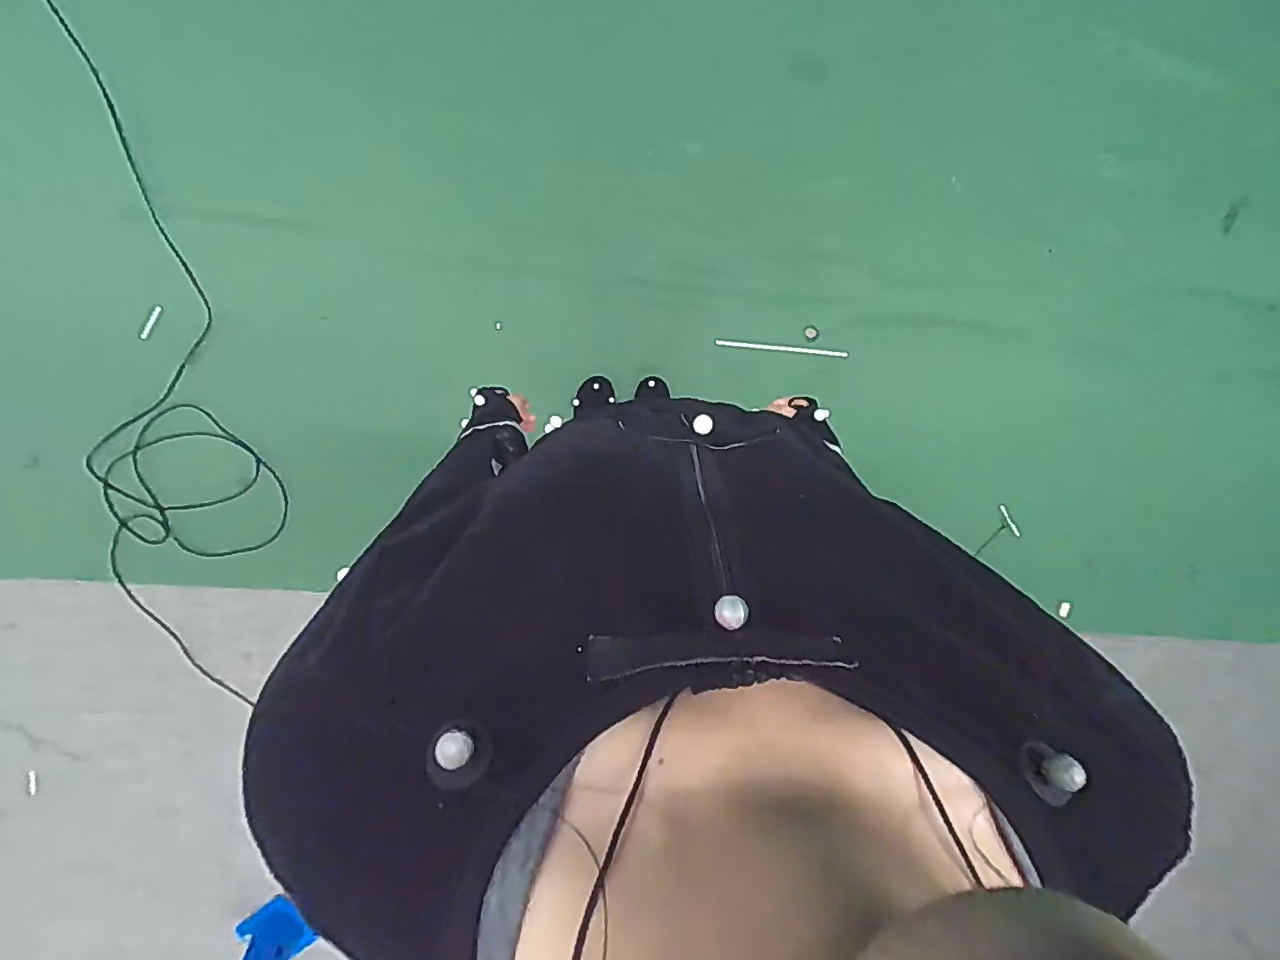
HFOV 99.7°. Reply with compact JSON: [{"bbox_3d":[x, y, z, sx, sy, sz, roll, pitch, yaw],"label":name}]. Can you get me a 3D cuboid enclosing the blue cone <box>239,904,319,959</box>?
[{"bbox_3d":[-1.096,1.443,1.504,0.193,0.380,0.192,-39,103,5],"label":"blue cone"}]
